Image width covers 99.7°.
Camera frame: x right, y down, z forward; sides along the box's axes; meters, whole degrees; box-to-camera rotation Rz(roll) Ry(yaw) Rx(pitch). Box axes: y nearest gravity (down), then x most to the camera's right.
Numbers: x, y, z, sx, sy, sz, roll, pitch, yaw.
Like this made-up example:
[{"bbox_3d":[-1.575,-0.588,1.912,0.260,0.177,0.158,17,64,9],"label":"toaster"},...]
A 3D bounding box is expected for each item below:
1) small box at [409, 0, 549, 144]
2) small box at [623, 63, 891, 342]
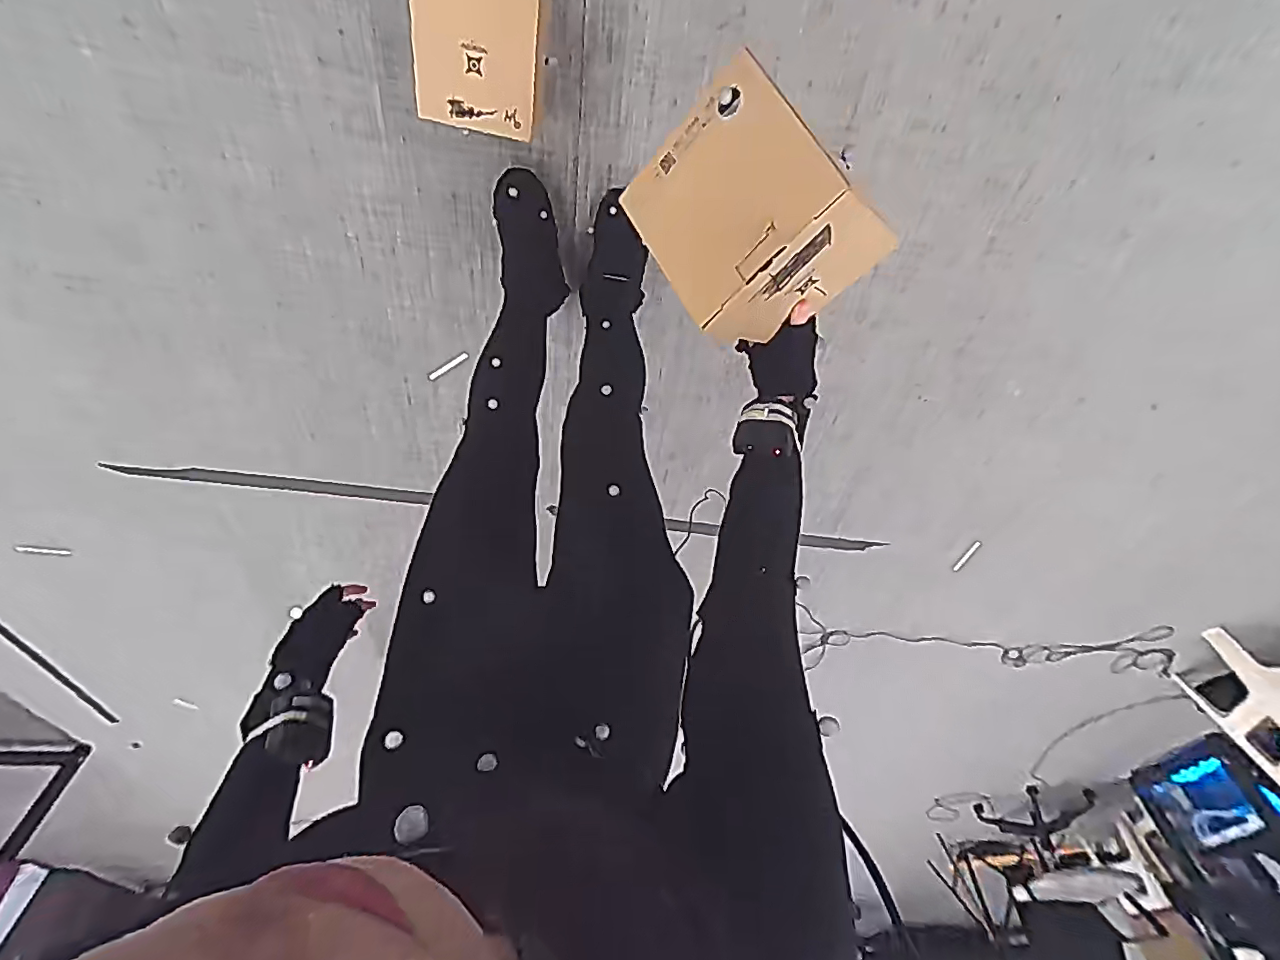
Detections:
[{"bbox_3d":[-0.229,-0.627,0.795,0.168,0.176,0.179,9,132,-9],"label":"small box"},{"bbox_3d":[0.114,-0.266,0.546,0.168,0.176,0.179,-38,163,35],"label":"small box"}]
